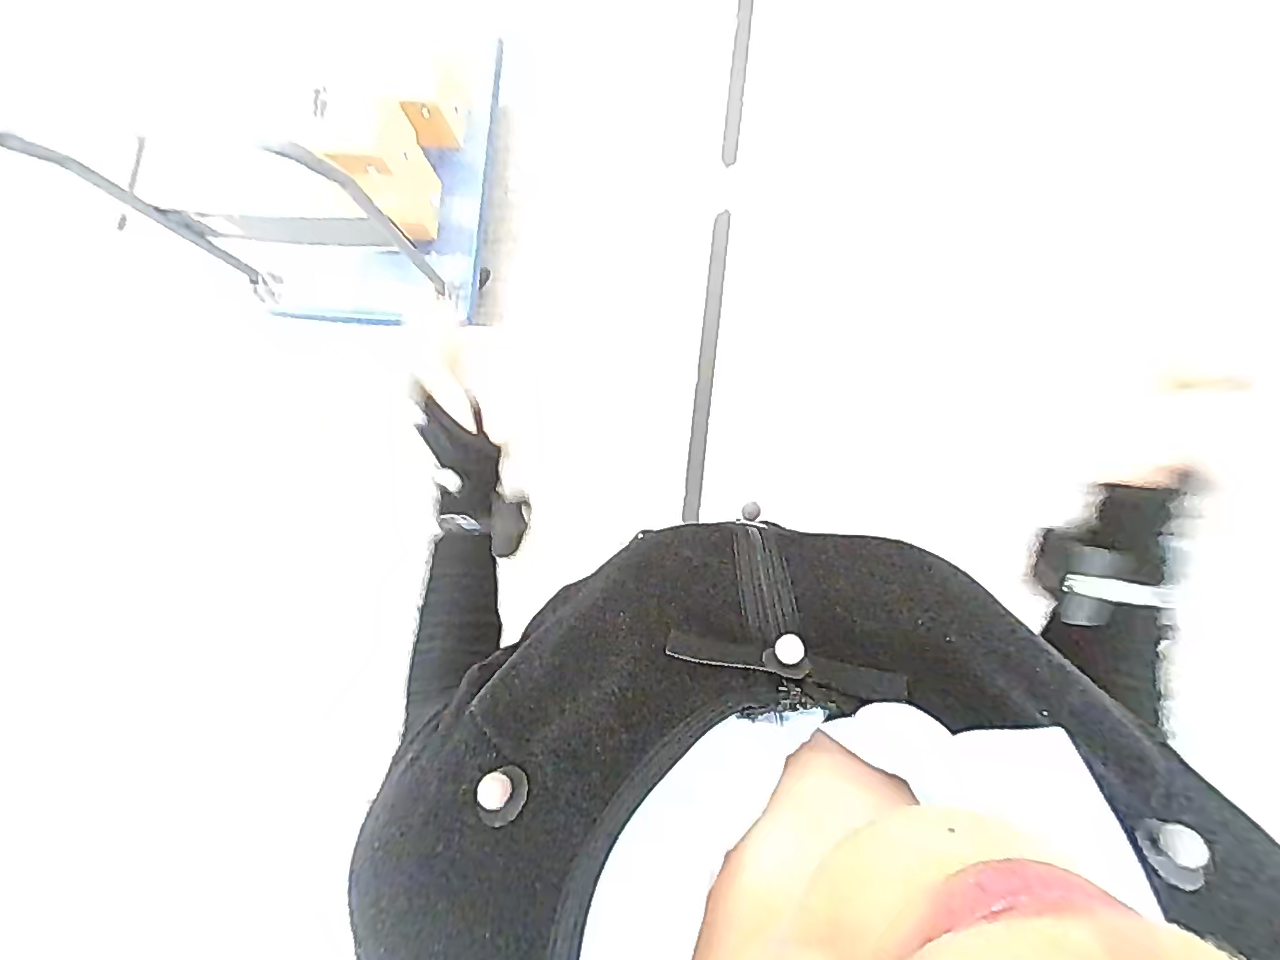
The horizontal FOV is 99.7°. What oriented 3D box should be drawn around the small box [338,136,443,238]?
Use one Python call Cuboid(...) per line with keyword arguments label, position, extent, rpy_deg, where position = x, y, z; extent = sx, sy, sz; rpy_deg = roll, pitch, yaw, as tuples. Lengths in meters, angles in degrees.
Cuboid(label="small box", position=(-0.624, -0.735, 1.368), extent=(0.179, 0.176, 0.168), rpy_deg=(3, 85, 2))
